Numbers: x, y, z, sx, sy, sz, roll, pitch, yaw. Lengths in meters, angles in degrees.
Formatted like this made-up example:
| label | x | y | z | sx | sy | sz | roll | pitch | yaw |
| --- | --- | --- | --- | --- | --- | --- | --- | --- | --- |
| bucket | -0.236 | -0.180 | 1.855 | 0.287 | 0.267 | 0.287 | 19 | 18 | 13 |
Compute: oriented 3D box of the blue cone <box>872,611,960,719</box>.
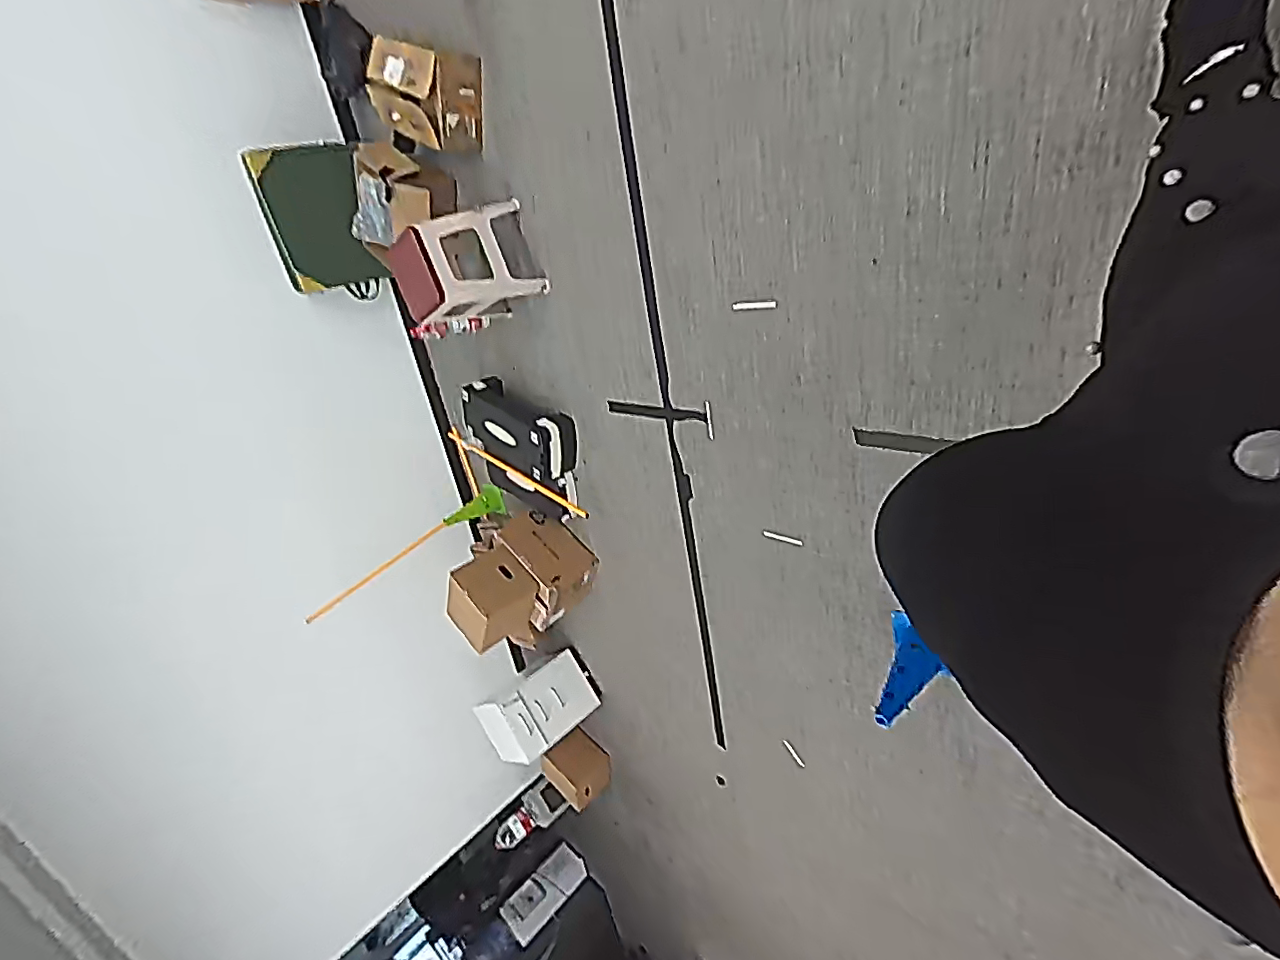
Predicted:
| label | x | y | z | sx | sy | sz | roll | pitch | yaw |
| --- | --- | --- | --- | --- | --- | --- | --- | --- | --- |
| blue cone | 0.764 | 0.564 | 1.559 | 0.193 | 0.380 | 0.192 | 7 | 118 | 46 |
